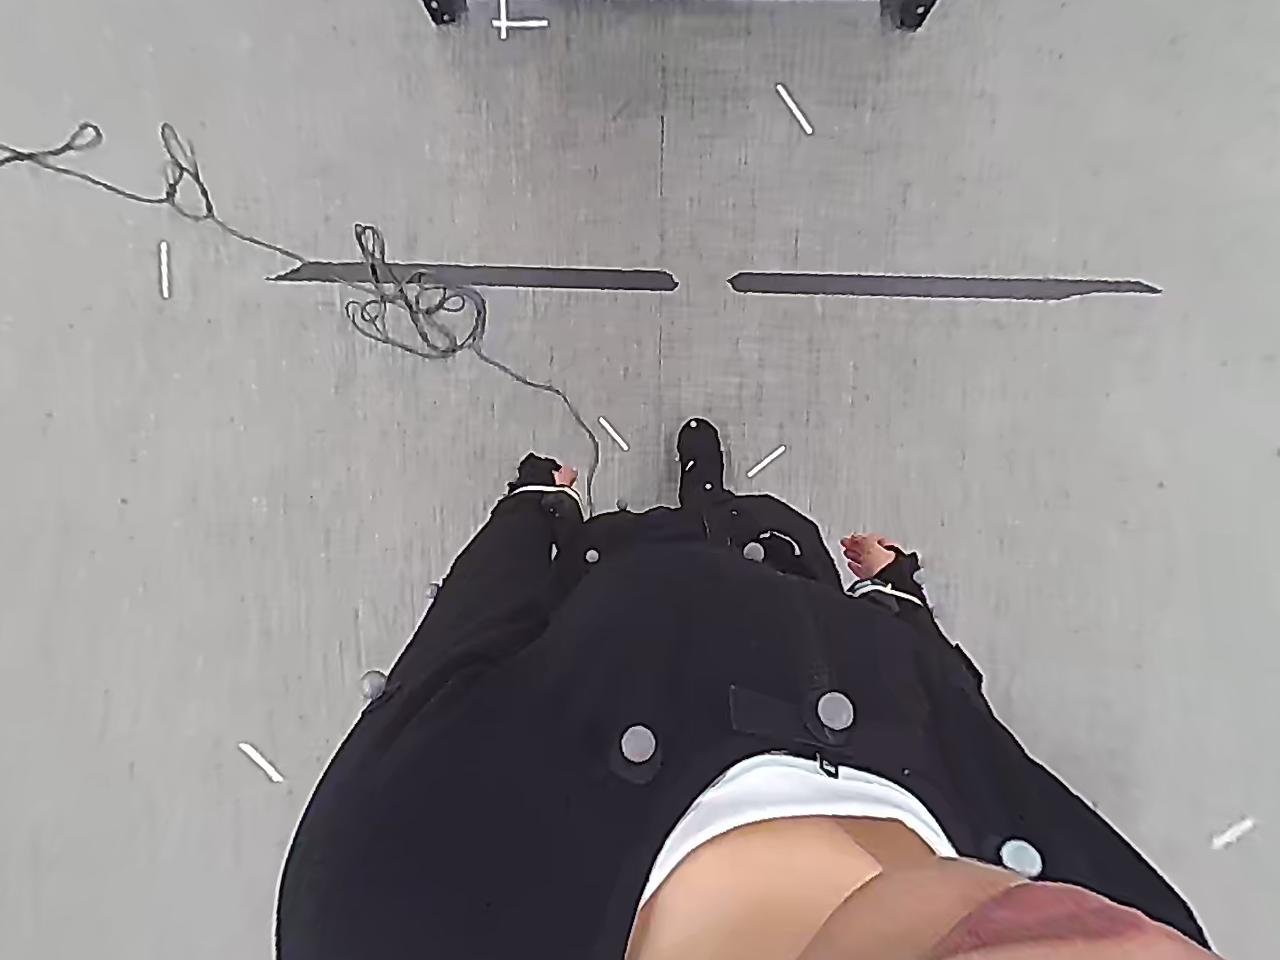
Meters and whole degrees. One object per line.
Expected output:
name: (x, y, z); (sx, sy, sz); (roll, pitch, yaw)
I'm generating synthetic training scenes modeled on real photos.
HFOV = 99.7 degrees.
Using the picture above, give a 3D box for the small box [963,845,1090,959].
small box: (0.833, 0.941, 1.181); (0.168, 0.176, 0.179); (-2, 93, 1)
